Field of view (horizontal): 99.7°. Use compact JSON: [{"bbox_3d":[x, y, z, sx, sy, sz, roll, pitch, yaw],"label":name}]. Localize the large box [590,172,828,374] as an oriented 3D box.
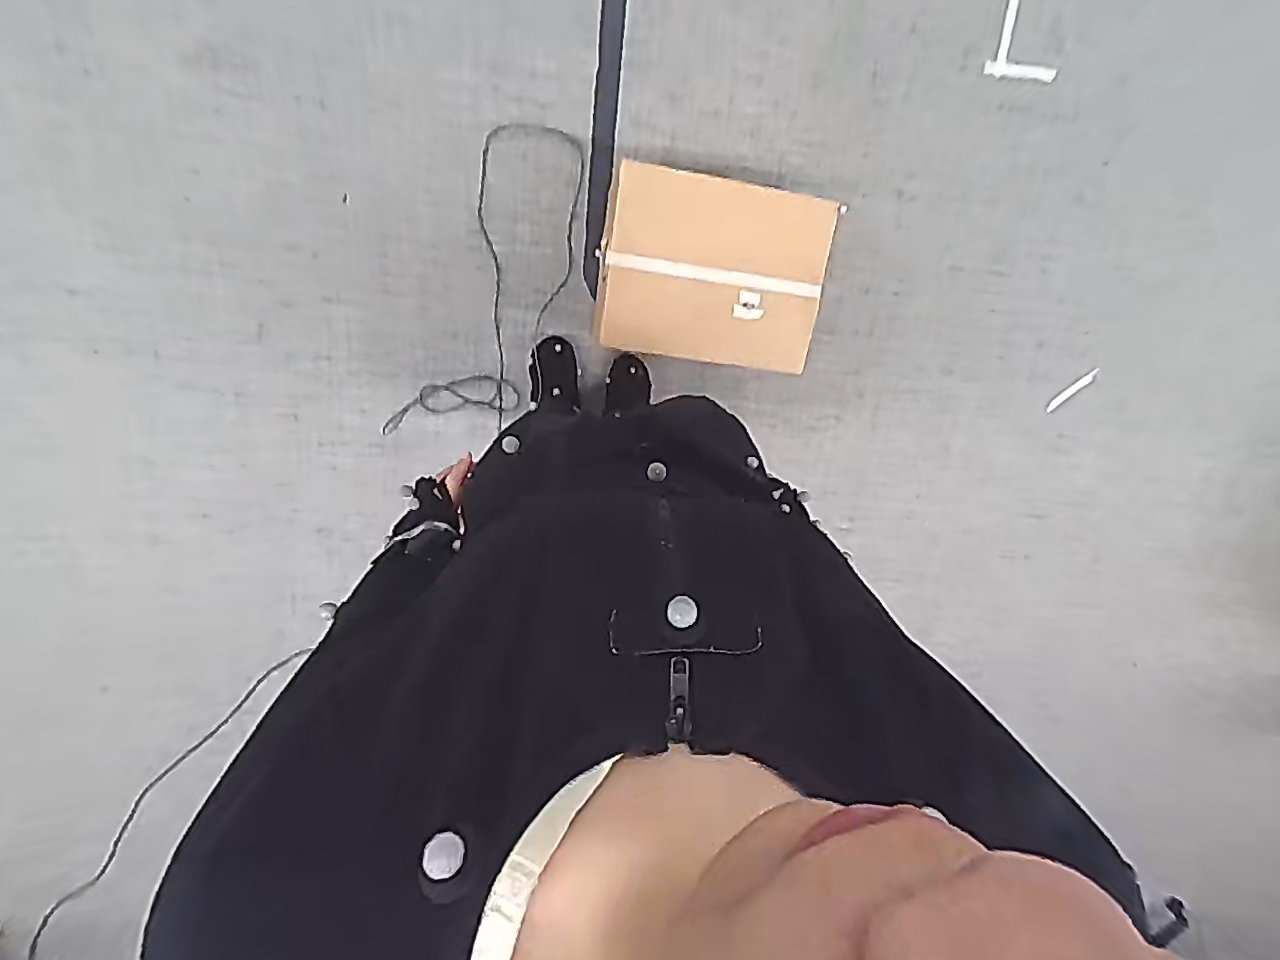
[{"bbox_3d":[0.112,-0.413,1.140,0.408,0.320,0.320,5,108,-10],"label":"large box"}]
